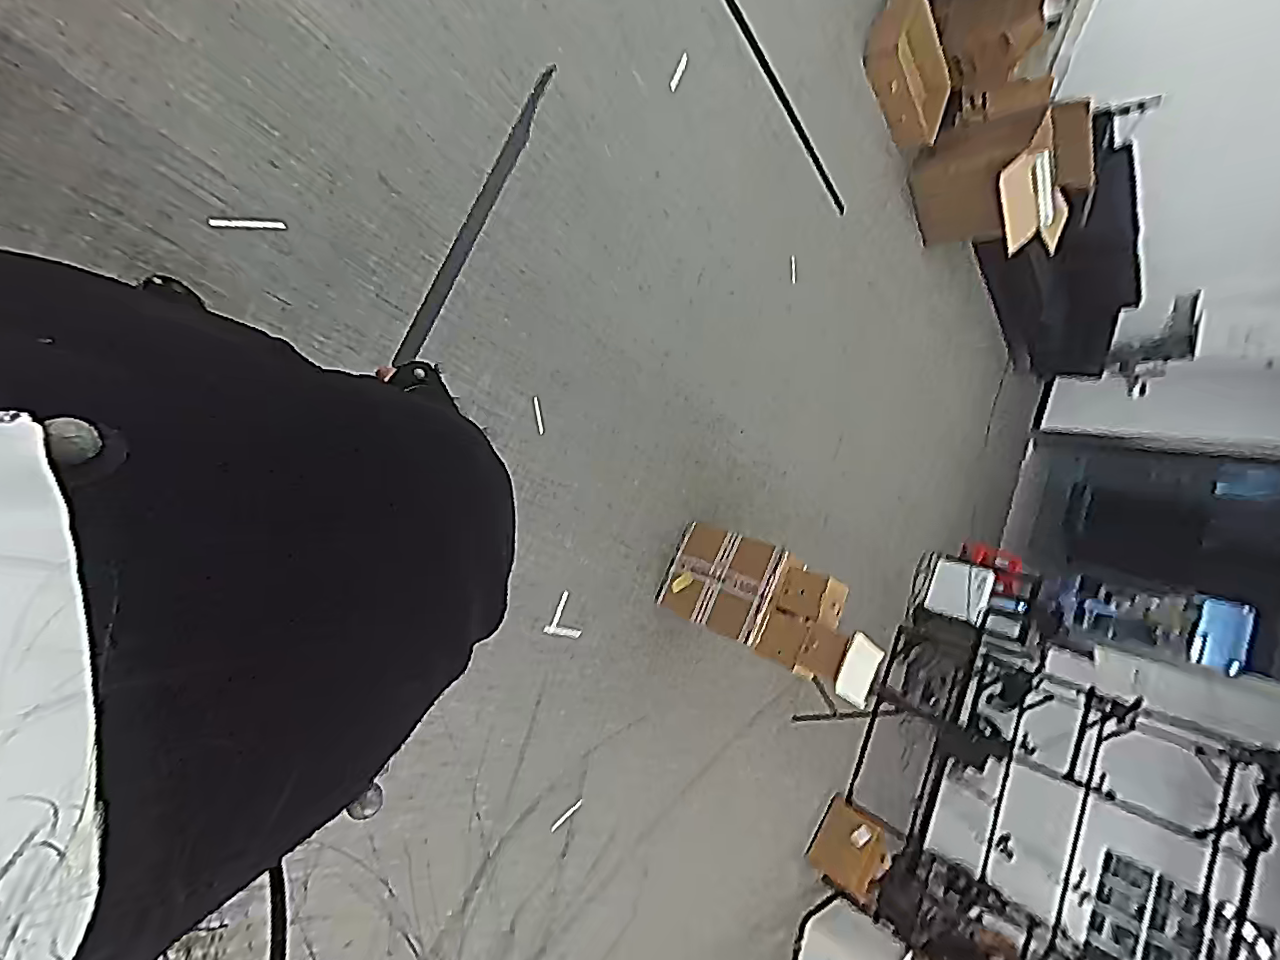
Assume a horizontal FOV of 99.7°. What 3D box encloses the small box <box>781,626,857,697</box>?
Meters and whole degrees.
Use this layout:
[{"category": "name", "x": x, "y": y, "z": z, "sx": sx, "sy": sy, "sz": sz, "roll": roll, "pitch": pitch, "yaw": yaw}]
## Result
[{"category": "small box", "x": 0.633, "y": 0.638, "z": 1.913, "sx": 0.179, "sy": 0.176, "sz": 0.168, "roll": 38, "pitch": 74, "yaw": -40}]
